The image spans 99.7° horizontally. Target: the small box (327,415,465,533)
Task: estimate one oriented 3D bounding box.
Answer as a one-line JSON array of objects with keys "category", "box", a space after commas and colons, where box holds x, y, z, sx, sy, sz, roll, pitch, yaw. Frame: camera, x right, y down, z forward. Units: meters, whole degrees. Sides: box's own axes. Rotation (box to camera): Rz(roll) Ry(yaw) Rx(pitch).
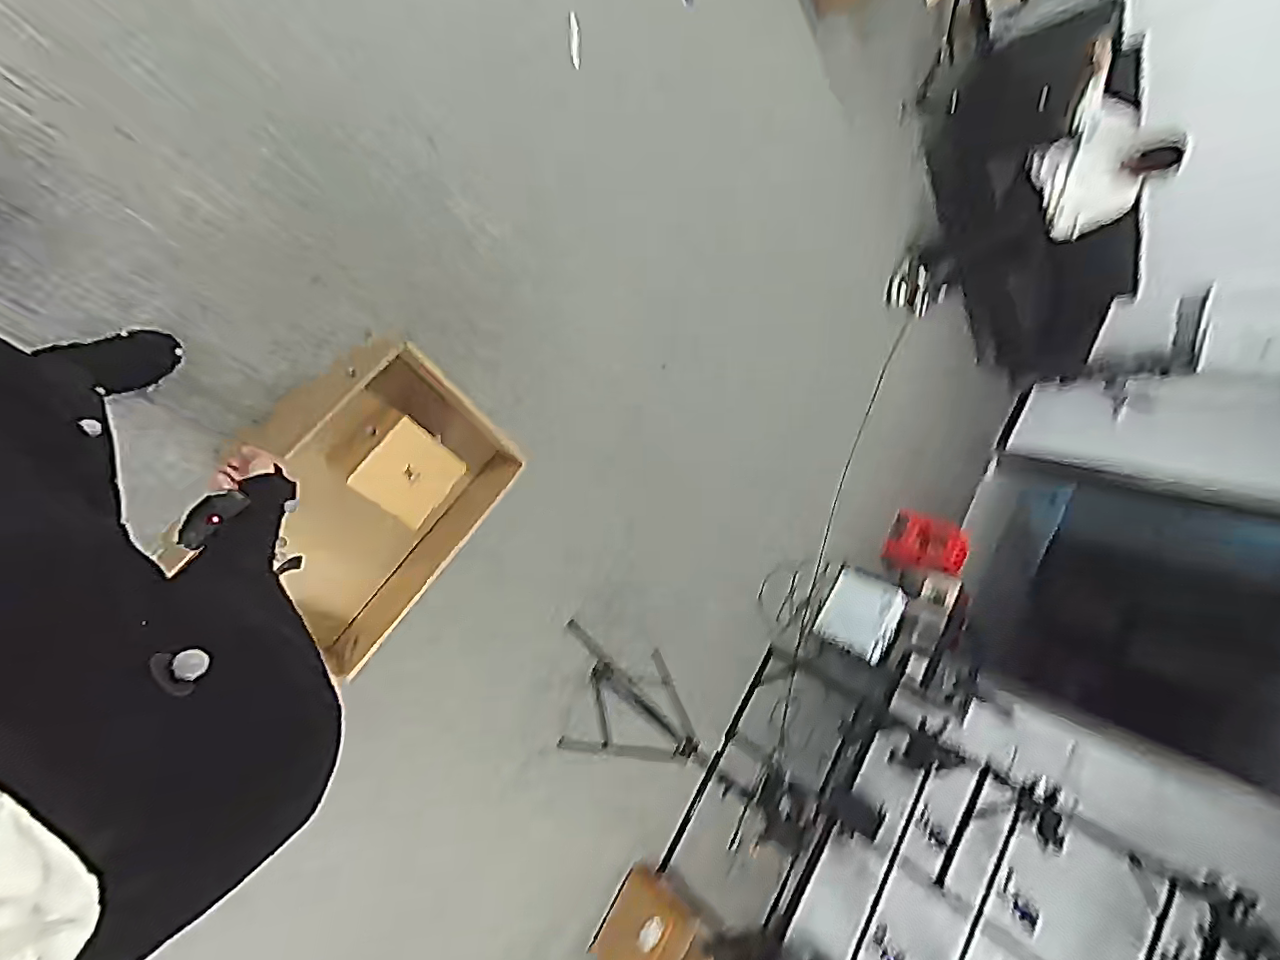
[{"category": "small box", "box": [-0.511, -0.019, 1.127, 0.168, 0.176, 0.179, -54, 133, -15]}]
